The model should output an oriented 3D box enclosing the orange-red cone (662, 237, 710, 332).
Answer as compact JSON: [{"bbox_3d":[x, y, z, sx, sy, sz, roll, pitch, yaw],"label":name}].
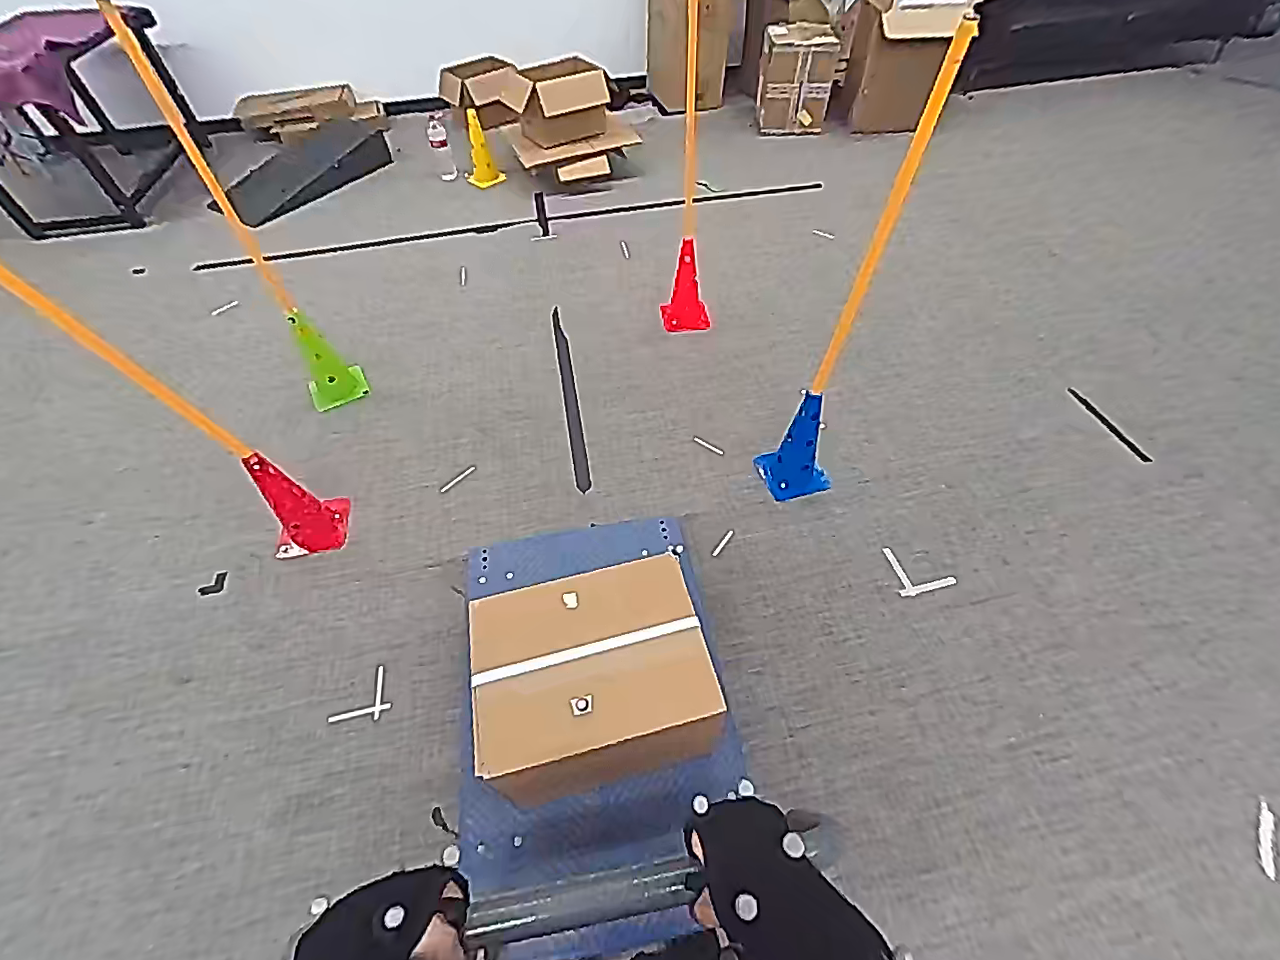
[{"bbox_3d":[0.194,-0.811,2.206,0.199,0.360,0.198,-4,52,-2],"label":"orange-red cone"}]

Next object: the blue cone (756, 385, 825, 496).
[{"bbox_3d":[0.498,-0.133,1.678,0.193,0.380,0.192,-13,51,-8],"label":"blue cone"}]
